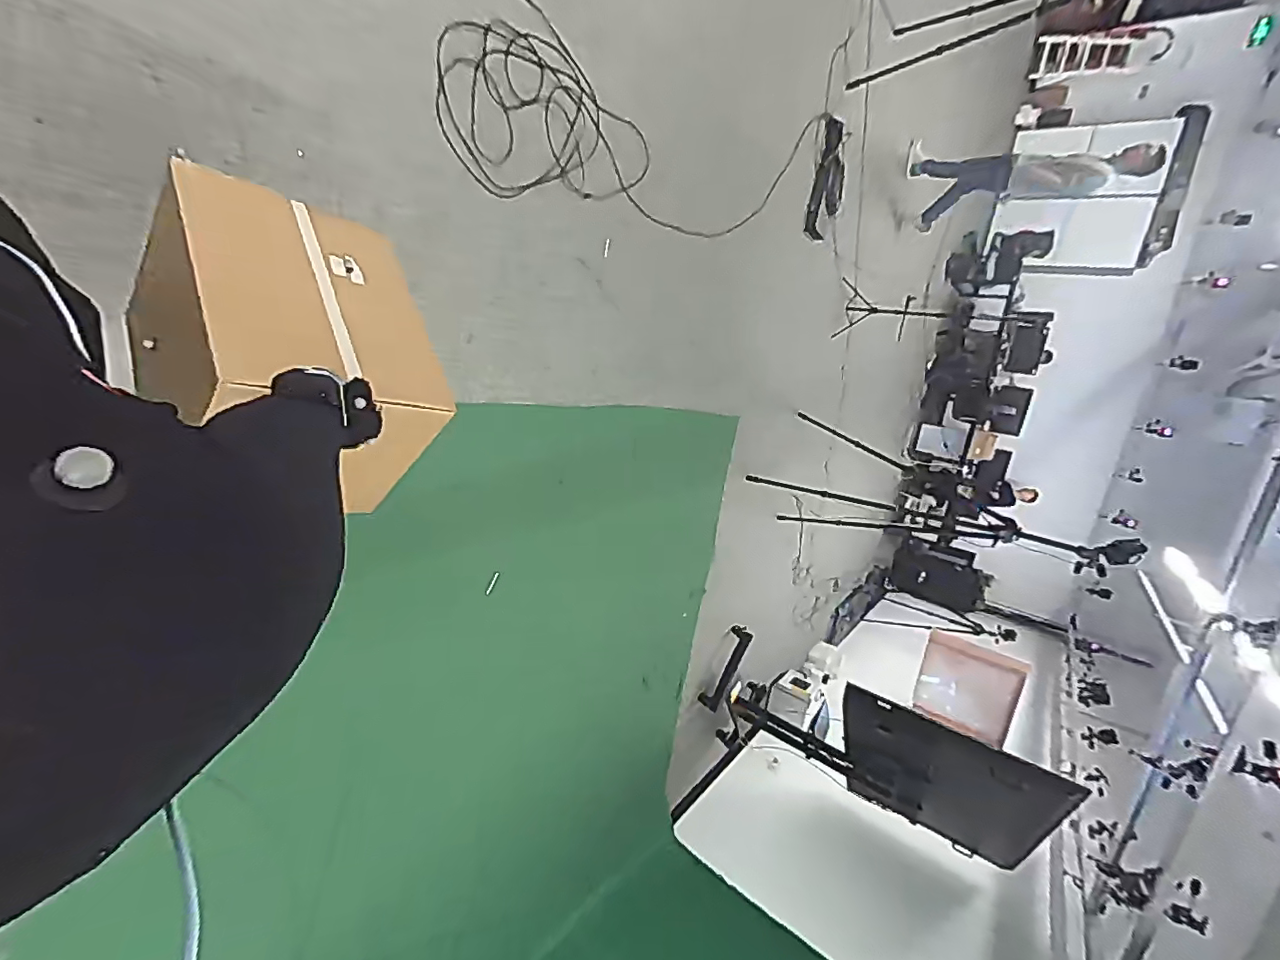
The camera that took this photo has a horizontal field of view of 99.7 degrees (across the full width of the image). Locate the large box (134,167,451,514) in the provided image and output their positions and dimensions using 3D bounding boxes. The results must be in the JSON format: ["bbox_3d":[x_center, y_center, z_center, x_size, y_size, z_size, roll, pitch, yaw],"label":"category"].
[{"bbox_3d":[-0.579,-0.195,0.890,0.320,0.408,0.320,-39,158,29],"label":"large box"}]
